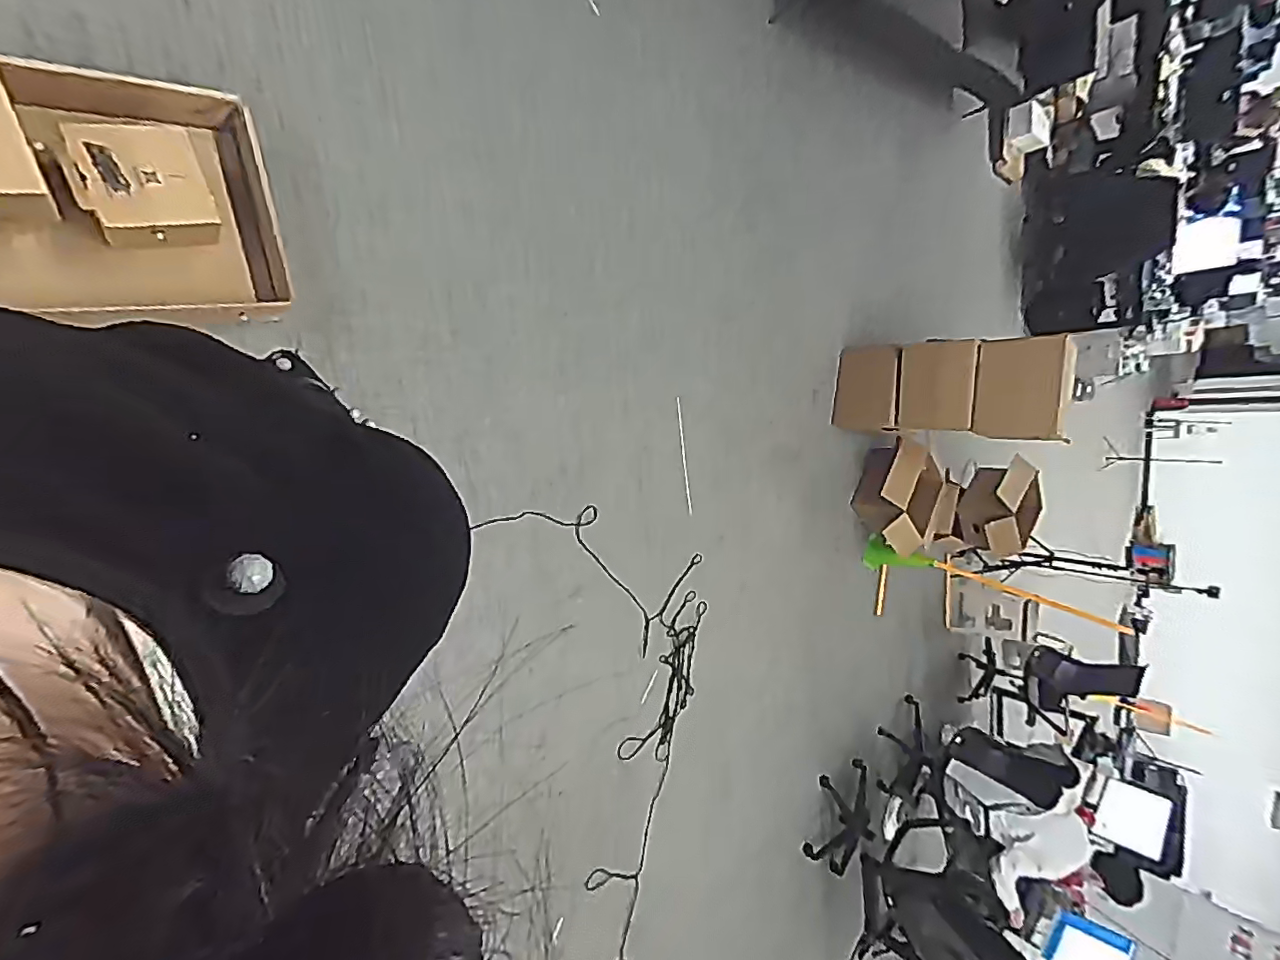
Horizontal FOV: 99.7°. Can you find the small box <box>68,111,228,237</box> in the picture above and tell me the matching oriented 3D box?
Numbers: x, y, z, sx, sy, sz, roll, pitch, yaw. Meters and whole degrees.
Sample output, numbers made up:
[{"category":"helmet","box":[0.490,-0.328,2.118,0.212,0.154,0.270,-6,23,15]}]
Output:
[{"category":"small box","box":[-0.918,-0.570,1.027,0.179,0.176,0.168,-24,110,-35]}]

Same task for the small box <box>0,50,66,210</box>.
[{"category":"small box","box":[-0.977,-0.498,0.775,0.168,0.176,0.179,-23,111,-38]}]

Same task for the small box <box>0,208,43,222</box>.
[{"category":"small box","box":[-1.121,-0.520,0.864,0.179,0.176,0.168,-21,110,-38]}]
